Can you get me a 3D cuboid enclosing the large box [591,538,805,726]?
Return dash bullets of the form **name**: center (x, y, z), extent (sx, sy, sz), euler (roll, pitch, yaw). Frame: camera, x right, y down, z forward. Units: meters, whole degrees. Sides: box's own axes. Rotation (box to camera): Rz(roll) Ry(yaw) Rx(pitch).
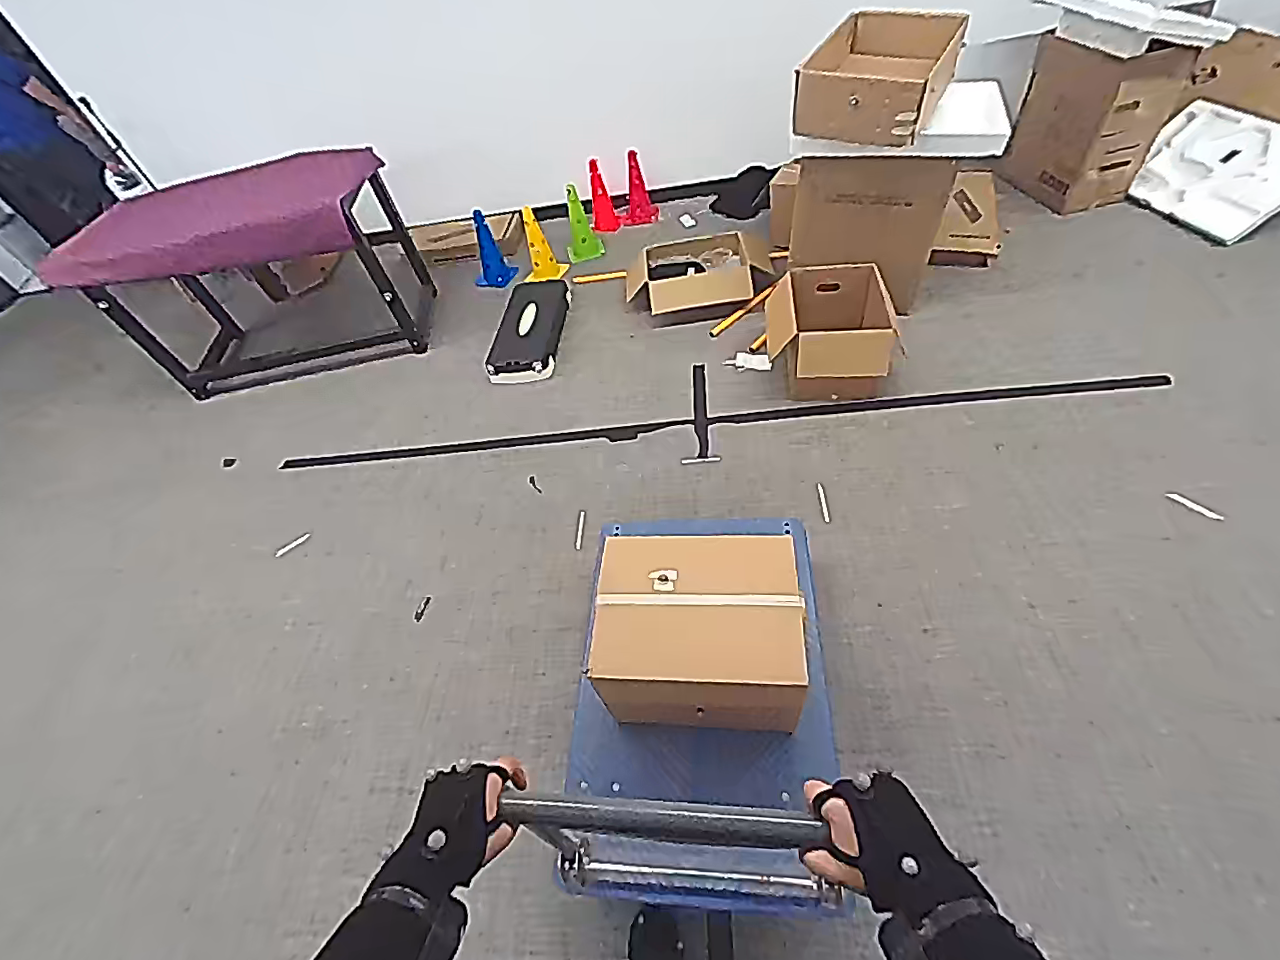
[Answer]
- **large box**: center (0.135, 0.347, 1.208), extent (0.408, 0.320, 0.320), euler (-3, 50, 10)
